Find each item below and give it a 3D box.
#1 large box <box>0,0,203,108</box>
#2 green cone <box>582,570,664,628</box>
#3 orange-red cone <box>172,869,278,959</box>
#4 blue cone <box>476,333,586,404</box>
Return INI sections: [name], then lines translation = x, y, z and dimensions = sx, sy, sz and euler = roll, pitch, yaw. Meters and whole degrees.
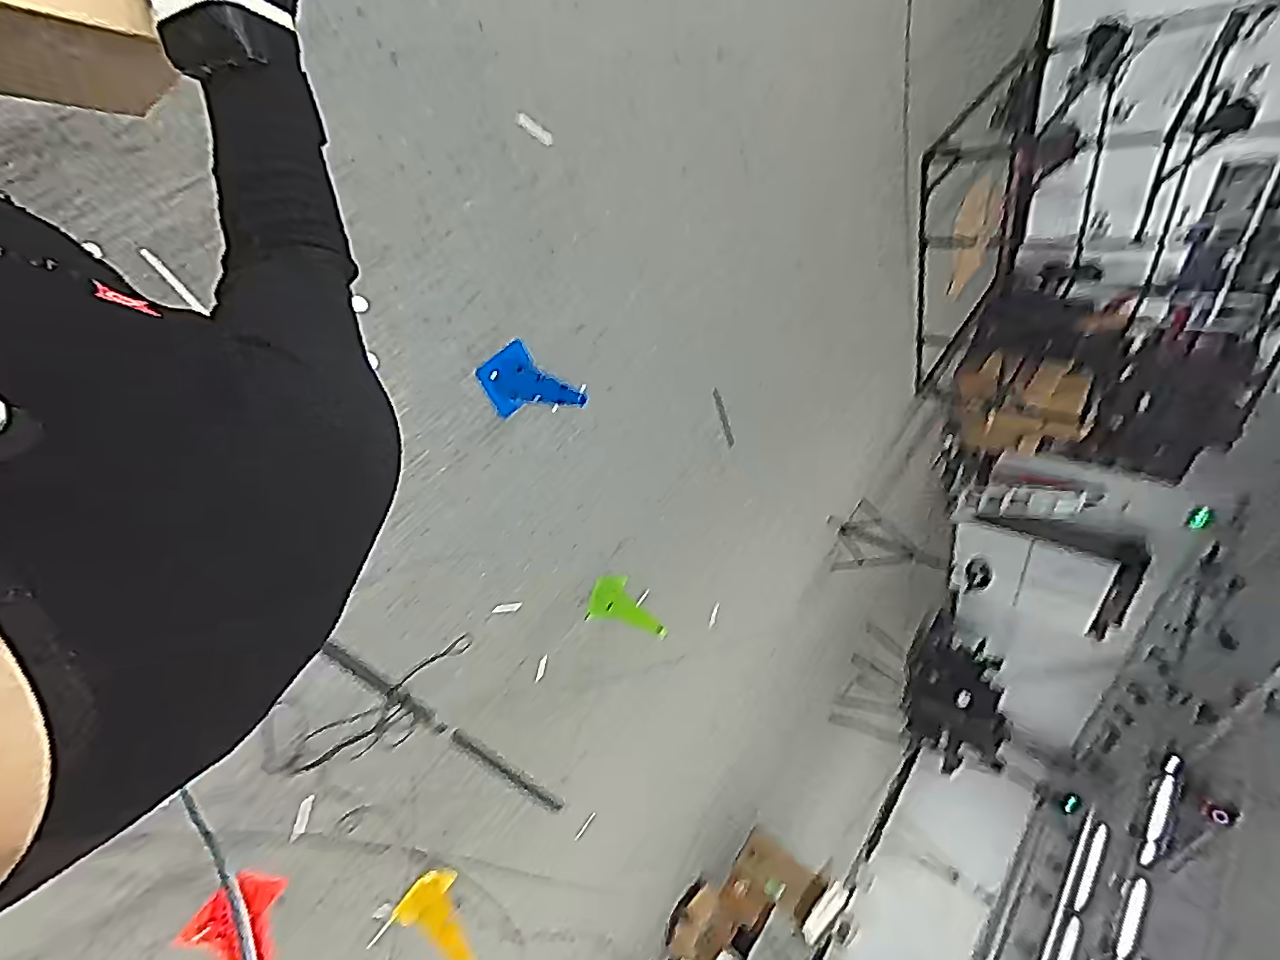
[large box]
translation = -0.539, -0.435, 0.275
dimensions = 0.408, 0.320, 0.320
euler = -19, 121, -45
[green cone]
translation = -0.046, 0.549, 2.337
dimensions = 0.200, 0.368, 0.202
euler = 10, 97, -52
[orange-red cone]
translation = -1.080, 1.293, 1.476
dimensions = 0.198, 0.360, 0.199
euler = -49, 139, -21
[blue cone]
translation = -0.311, -0.313, 1.653
dimensions = 0.192, 0.380, 0.193
euler = -47, 137, -27
